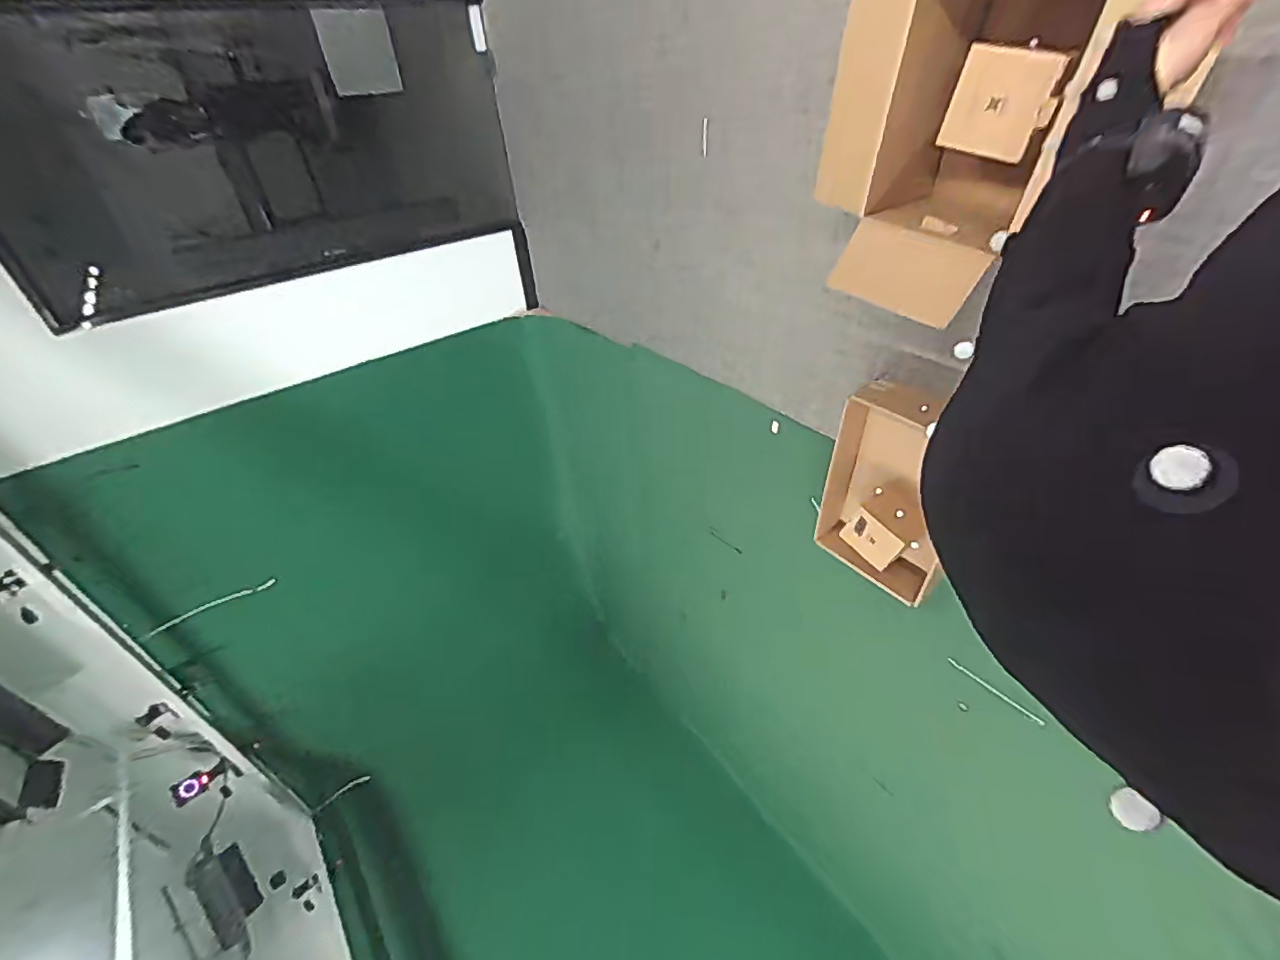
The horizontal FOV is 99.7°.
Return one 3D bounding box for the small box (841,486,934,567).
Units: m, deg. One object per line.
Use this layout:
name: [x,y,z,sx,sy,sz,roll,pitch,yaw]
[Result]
small box: [0.791,0.139,1.731,0.179,0.176,0.168,48,148,26]
